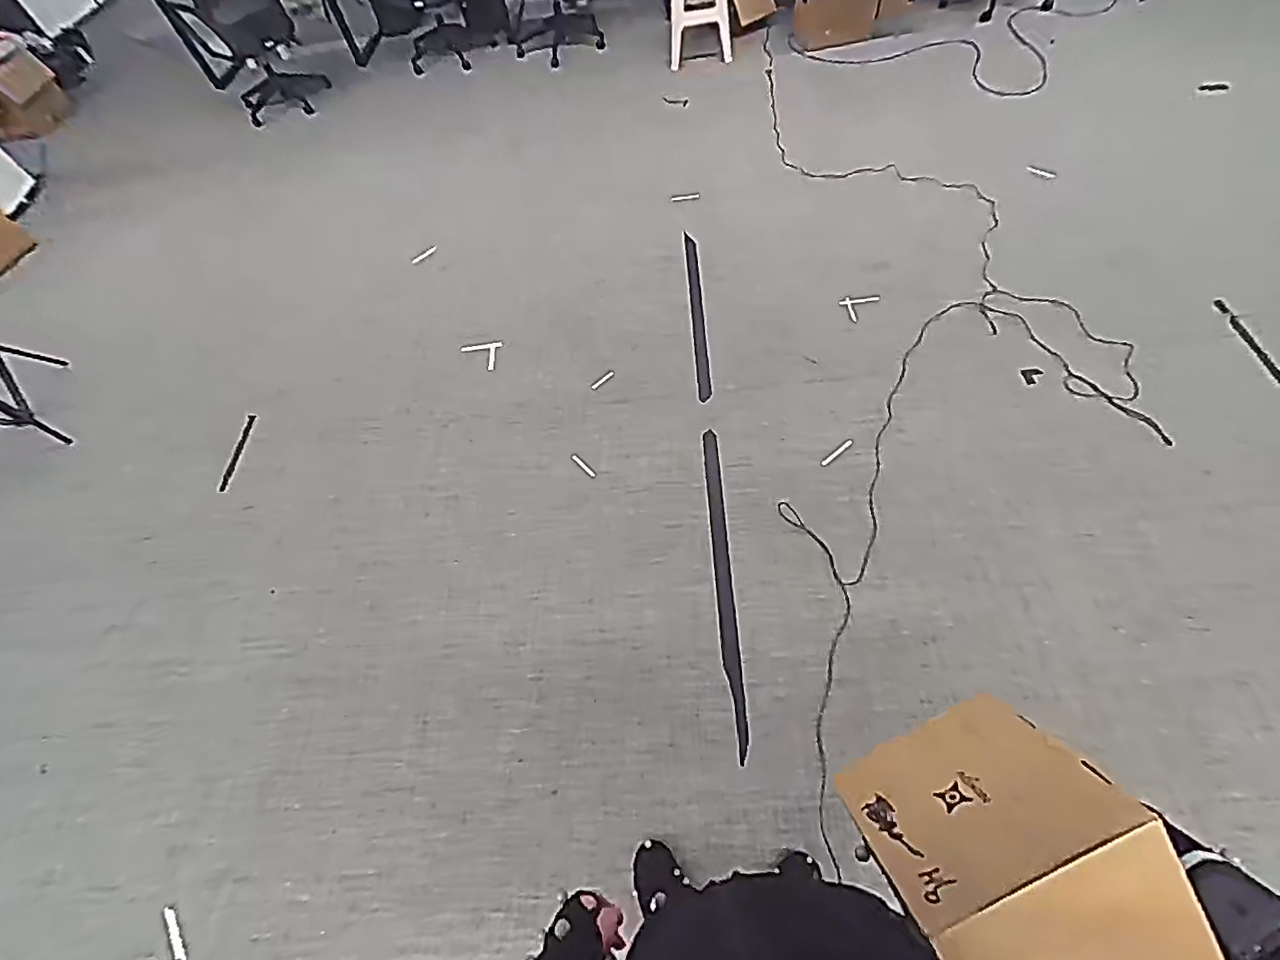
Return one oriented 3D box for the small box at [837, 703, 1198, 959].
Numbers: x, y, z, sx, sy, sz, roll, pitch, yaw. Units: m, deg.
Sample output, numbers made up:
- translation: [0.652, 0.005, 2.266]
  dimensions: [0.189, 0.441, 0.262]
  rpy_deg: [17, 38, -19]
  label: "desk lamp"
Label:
- translation: [0.309, 0.337, 0.460]
  dimensions: [0.179, 0.168, 0.176]
  rpy_deg: [-29, 96, 1]
  label: "small box"
